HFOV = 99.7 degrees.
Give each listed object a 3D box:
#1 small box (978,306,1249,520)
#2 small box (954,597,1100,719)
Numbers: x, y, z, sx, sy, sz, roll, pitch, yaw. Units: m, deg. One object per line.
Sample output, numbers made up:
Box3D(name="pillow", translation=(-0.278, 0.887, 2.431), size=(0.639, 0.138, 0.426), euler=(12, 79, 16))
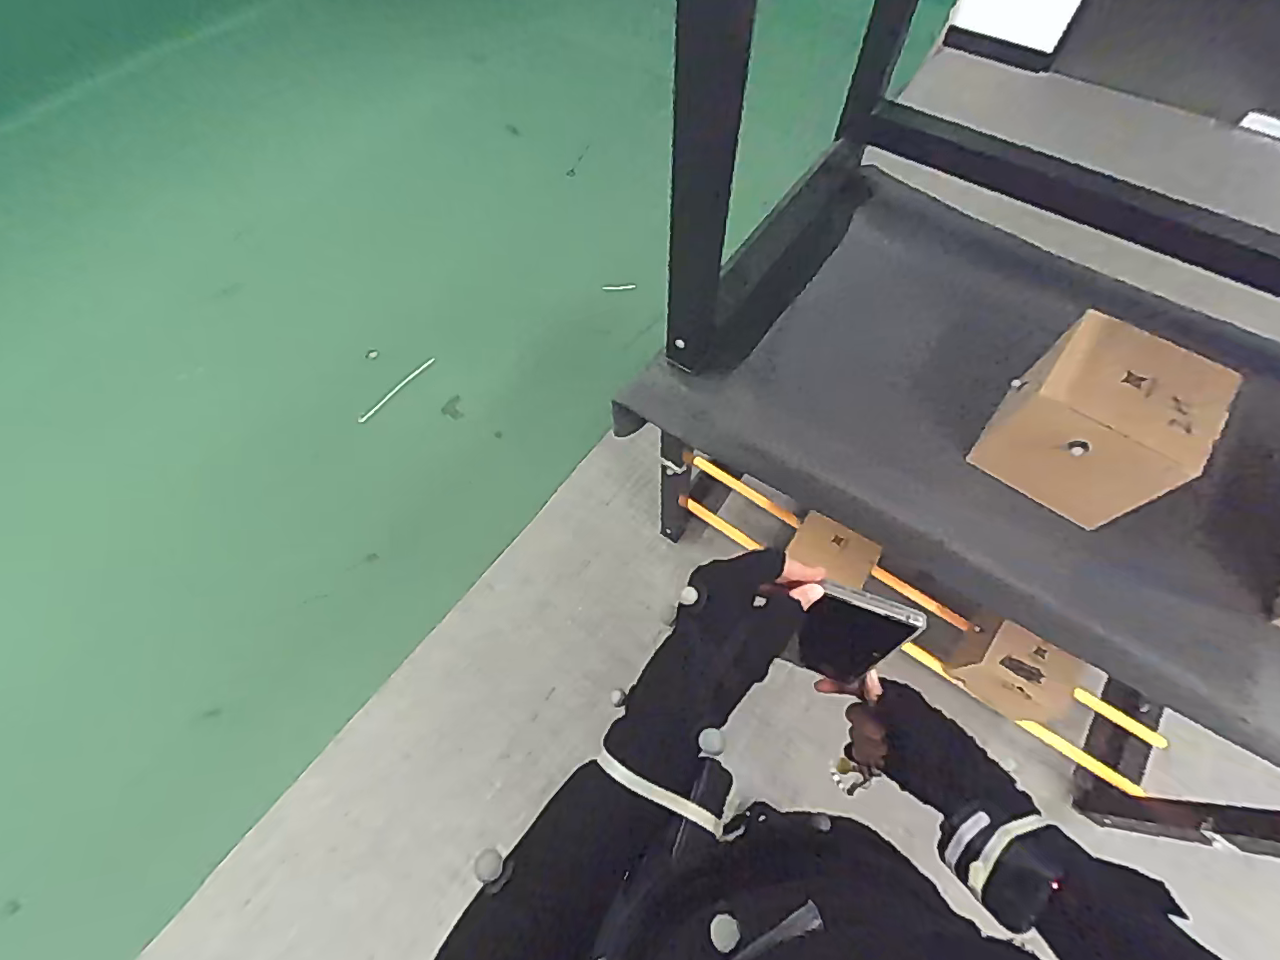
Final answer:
Box3D(name="small box", translation=(0.577, -0.076, 0.685), size=(0.179, 0.176, 0.168), euler=(36, 70, 18))
Box3D(name="small box", translation=(0.803, 0.383, 1.143), size=(0.168, 0.176, 0.179), euler=(36, 70, 18))
